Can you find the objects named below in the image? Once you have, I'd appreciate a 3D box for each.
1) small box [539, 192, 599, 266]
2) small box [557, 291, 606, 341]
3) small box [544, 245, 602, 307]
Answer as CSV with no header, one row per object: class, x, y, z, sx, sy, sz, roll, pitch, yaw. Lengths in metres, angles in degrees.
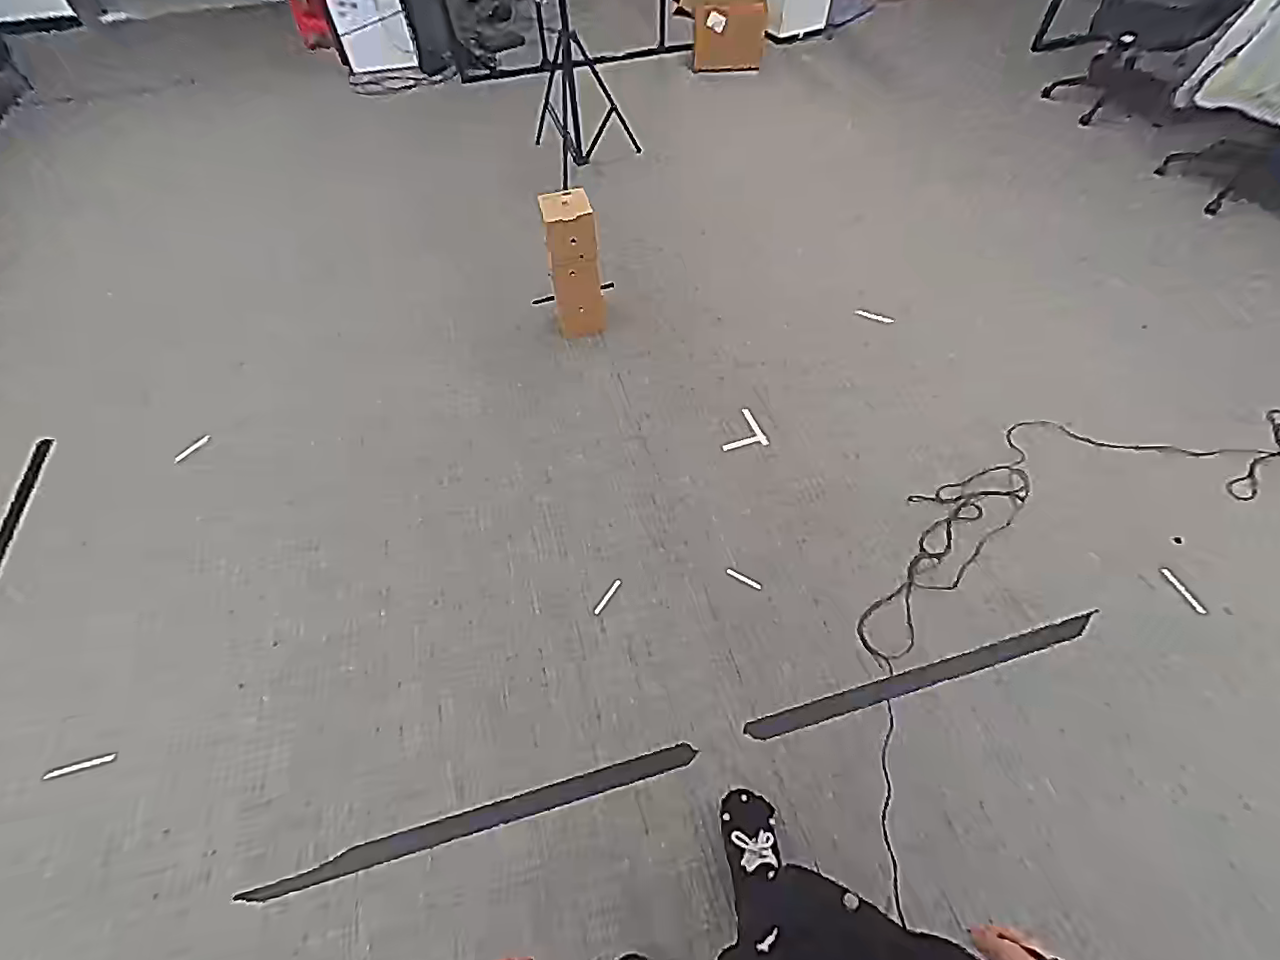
small box,-0.246,-0.872,1.898,0.168,0.176,0.179,-14,57,-7
small box,-0.237,-0.686,2.168,0.179,0.176,0.168,-15,57,-8
small box,-0.248,-0.775,2.030,0.179,0.176,0.168,-13,57,-6
